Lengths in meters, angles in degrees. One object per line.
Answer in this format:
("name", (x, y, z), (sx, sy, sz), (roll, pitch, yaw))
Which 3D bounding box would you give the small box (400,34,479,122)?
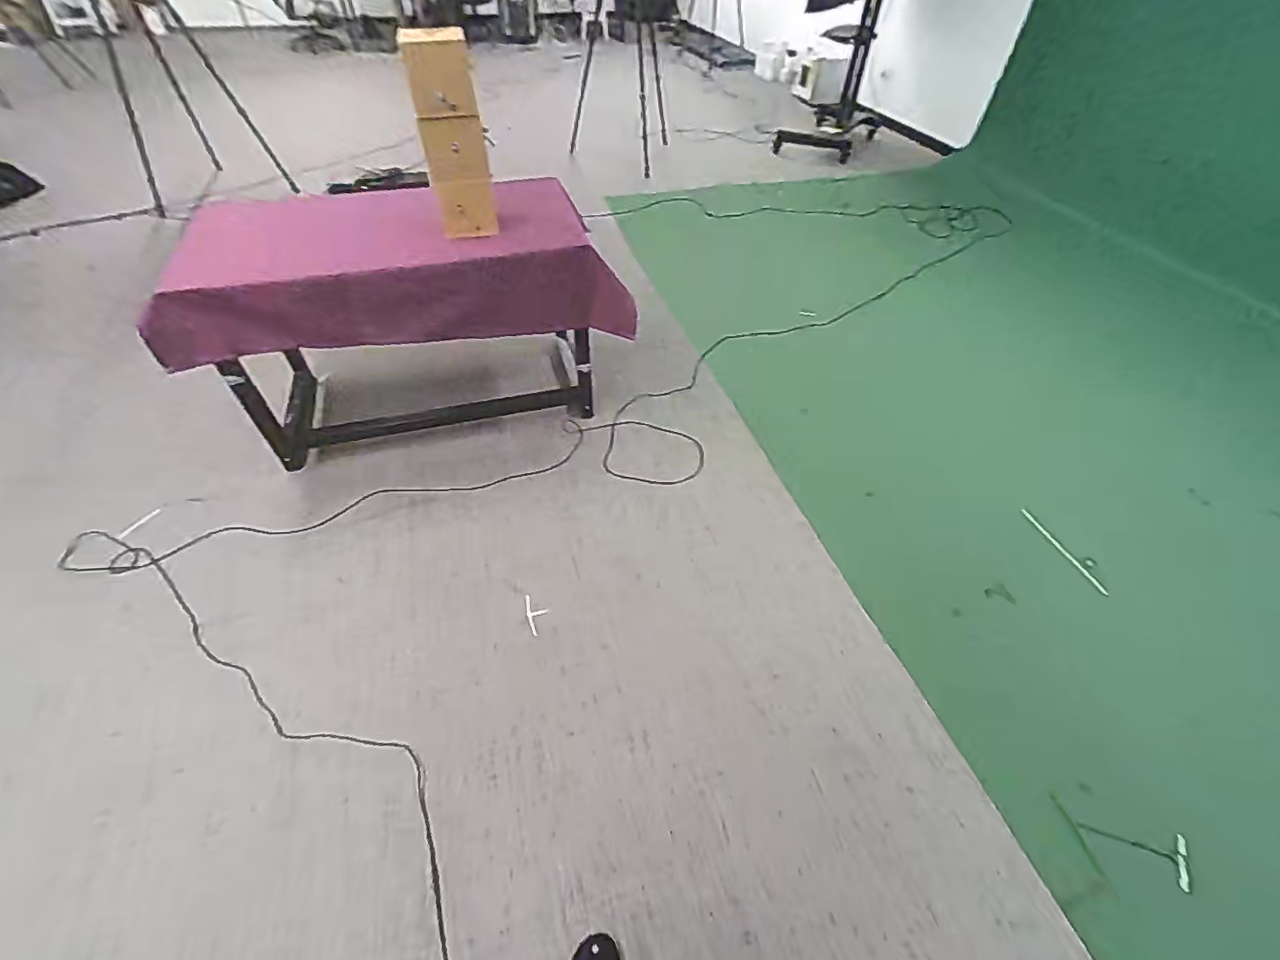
("small box", (-0.547, -1.104, 1.485), (0.168, 0.176, 0.179), (-12, 49, -10))

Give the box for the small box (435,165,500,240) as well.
("small box", (-0.551, -0.884, 1.730), (0.168, 0.176, 0.179), (-10, 48, -10))
